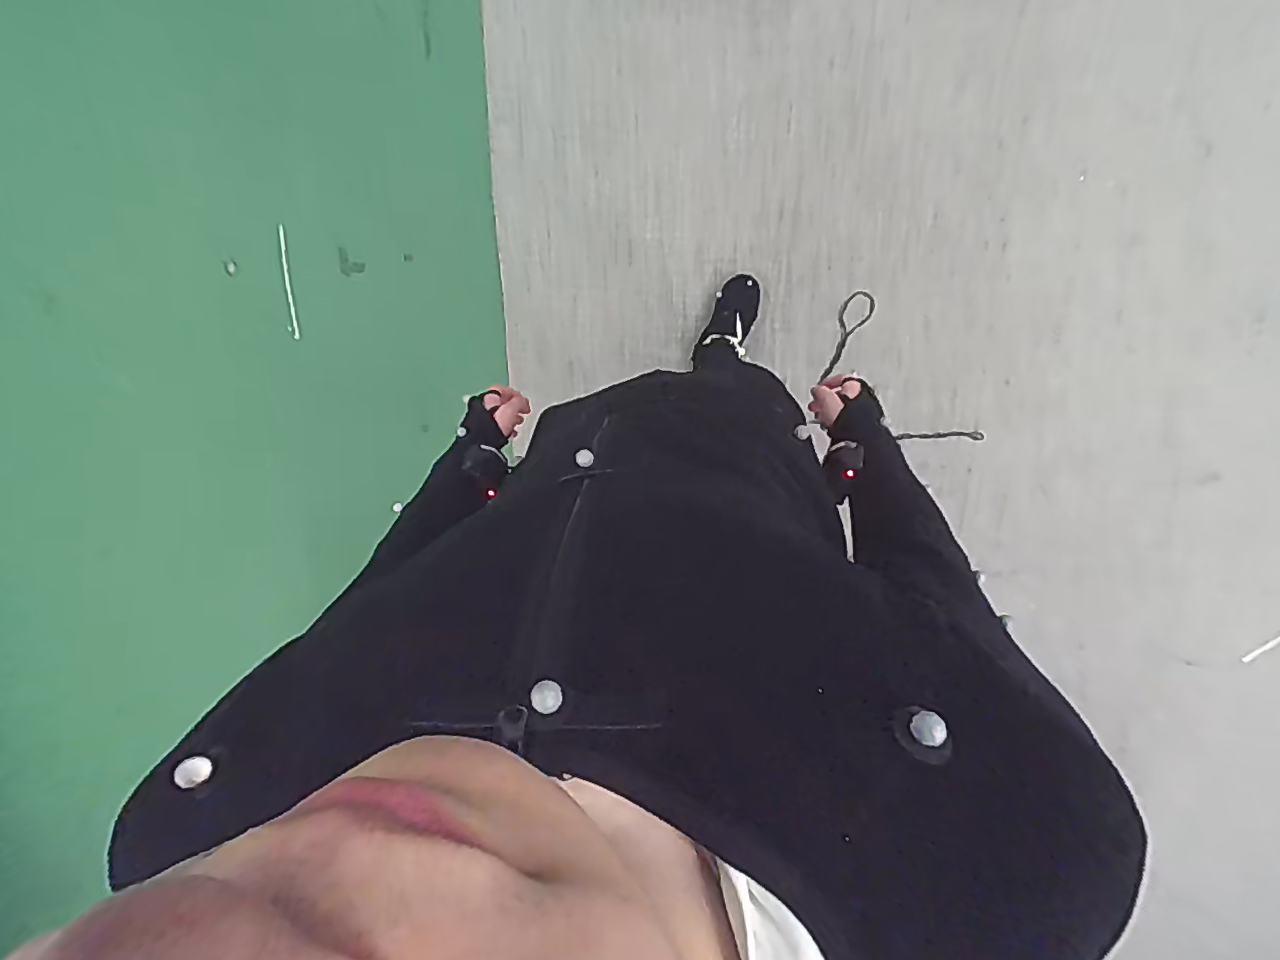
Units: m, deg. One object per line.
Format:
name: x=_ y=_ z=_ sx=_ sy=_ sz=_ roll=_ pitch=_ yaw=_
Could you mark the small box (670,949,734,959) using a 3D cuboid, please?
small box: x=0.137 y=1.085 z=1.071 sx=0.168 sy=0.176 sz=0.179 roll=0 pitch=105 yaw=8
